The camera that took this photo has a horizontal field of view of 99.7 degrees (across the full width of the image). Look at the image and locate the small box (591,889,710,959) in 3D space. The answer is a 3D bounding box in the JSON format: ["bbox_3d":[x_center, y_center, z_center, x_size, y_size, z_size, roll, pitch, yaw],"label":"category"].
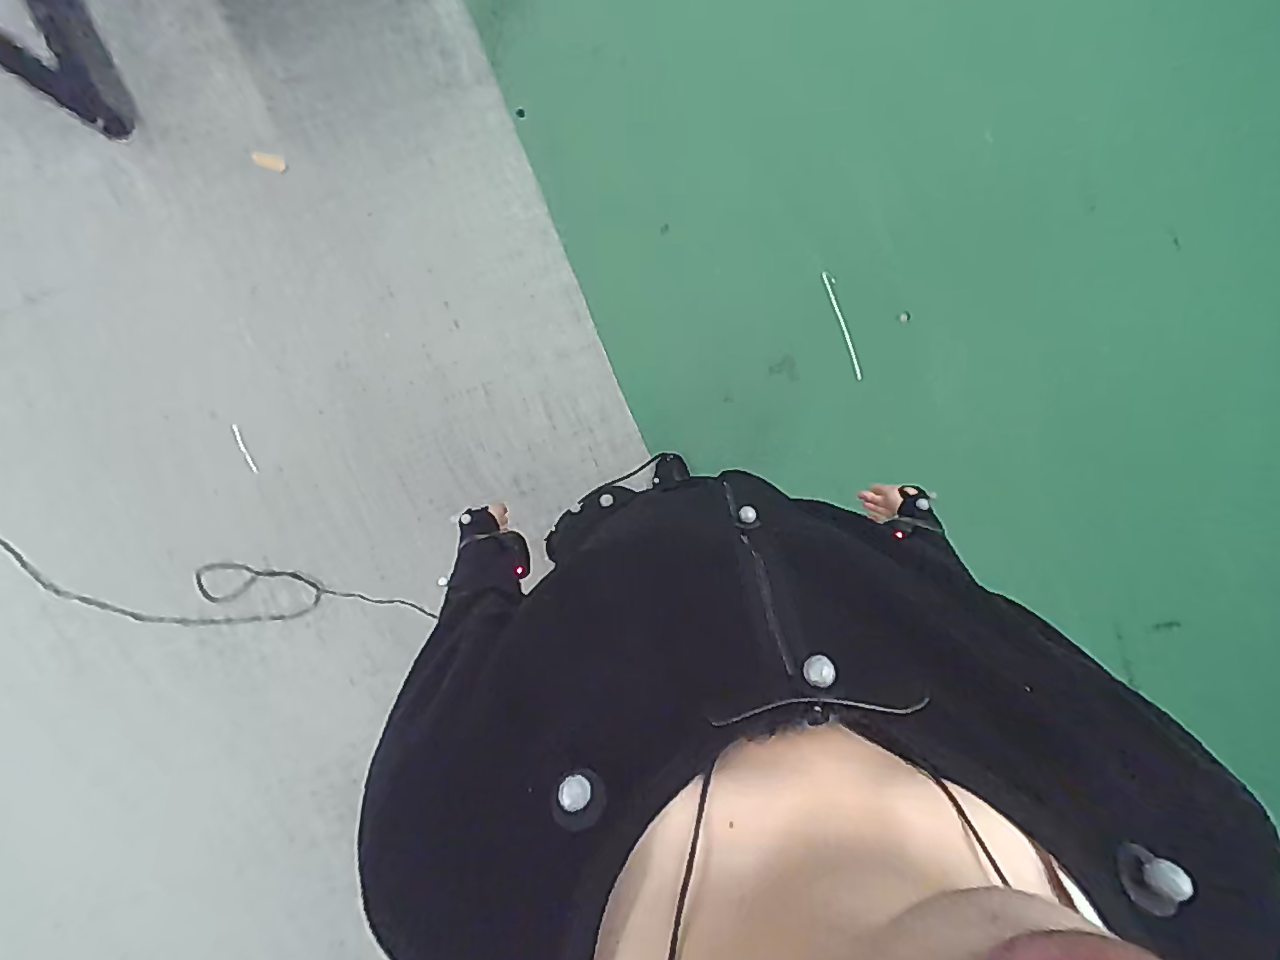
[{"bbox_3d":[0.025,0.812,0.857,0.179,0.176,0.168,-21,95,-5],"label":"small box"}]
